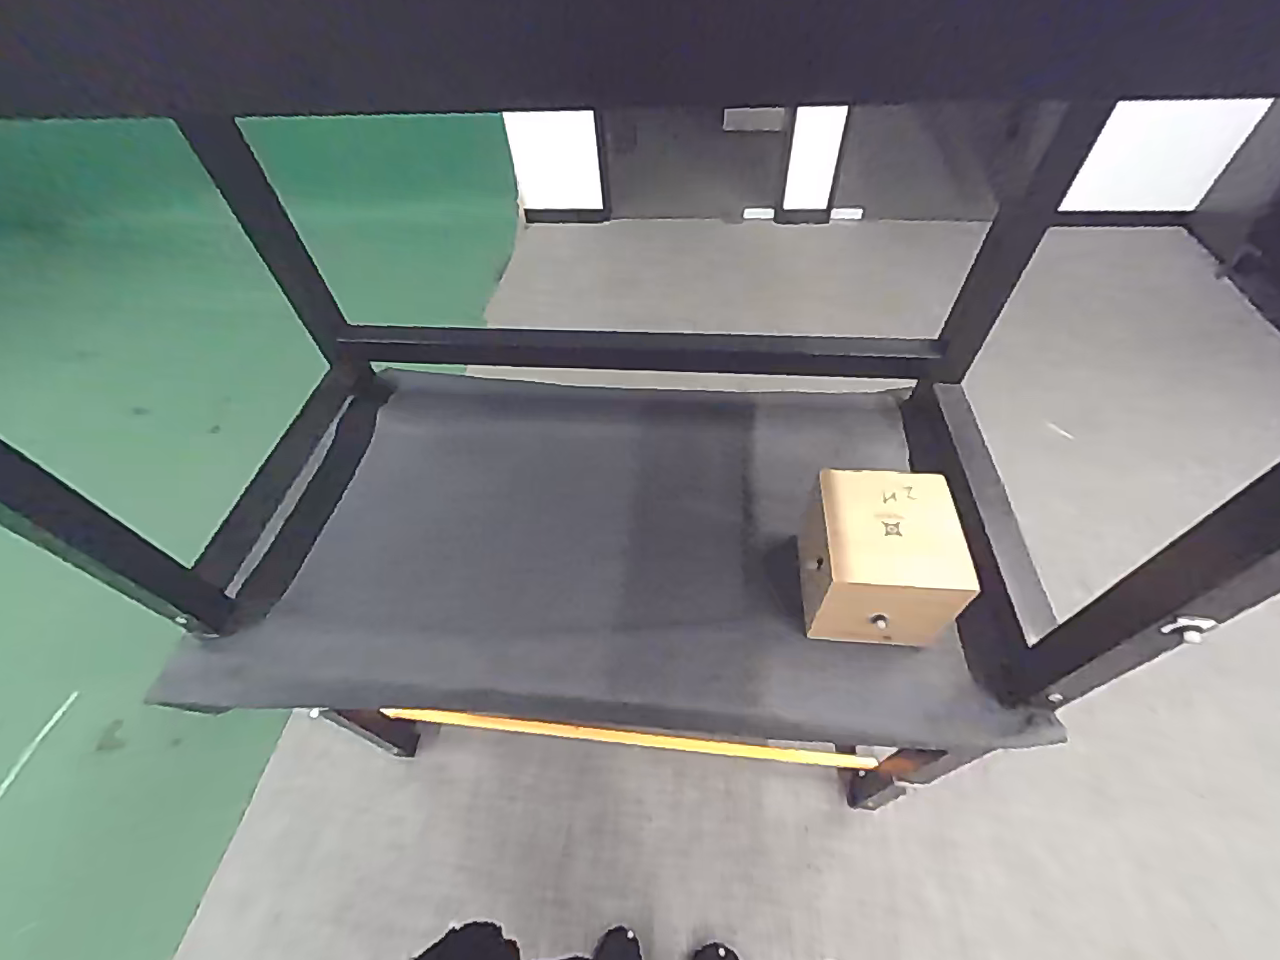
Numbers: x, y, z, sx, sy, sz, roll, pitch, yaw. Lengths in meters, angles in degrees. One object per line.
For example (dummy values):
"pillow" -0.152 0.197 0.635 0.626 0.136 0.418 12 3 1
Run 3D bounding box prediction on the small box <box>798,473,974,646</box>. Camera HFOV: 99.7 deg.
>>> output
"small box" 0.318 0.112 0.743 0.168 0.176 0.179 3 51 6
